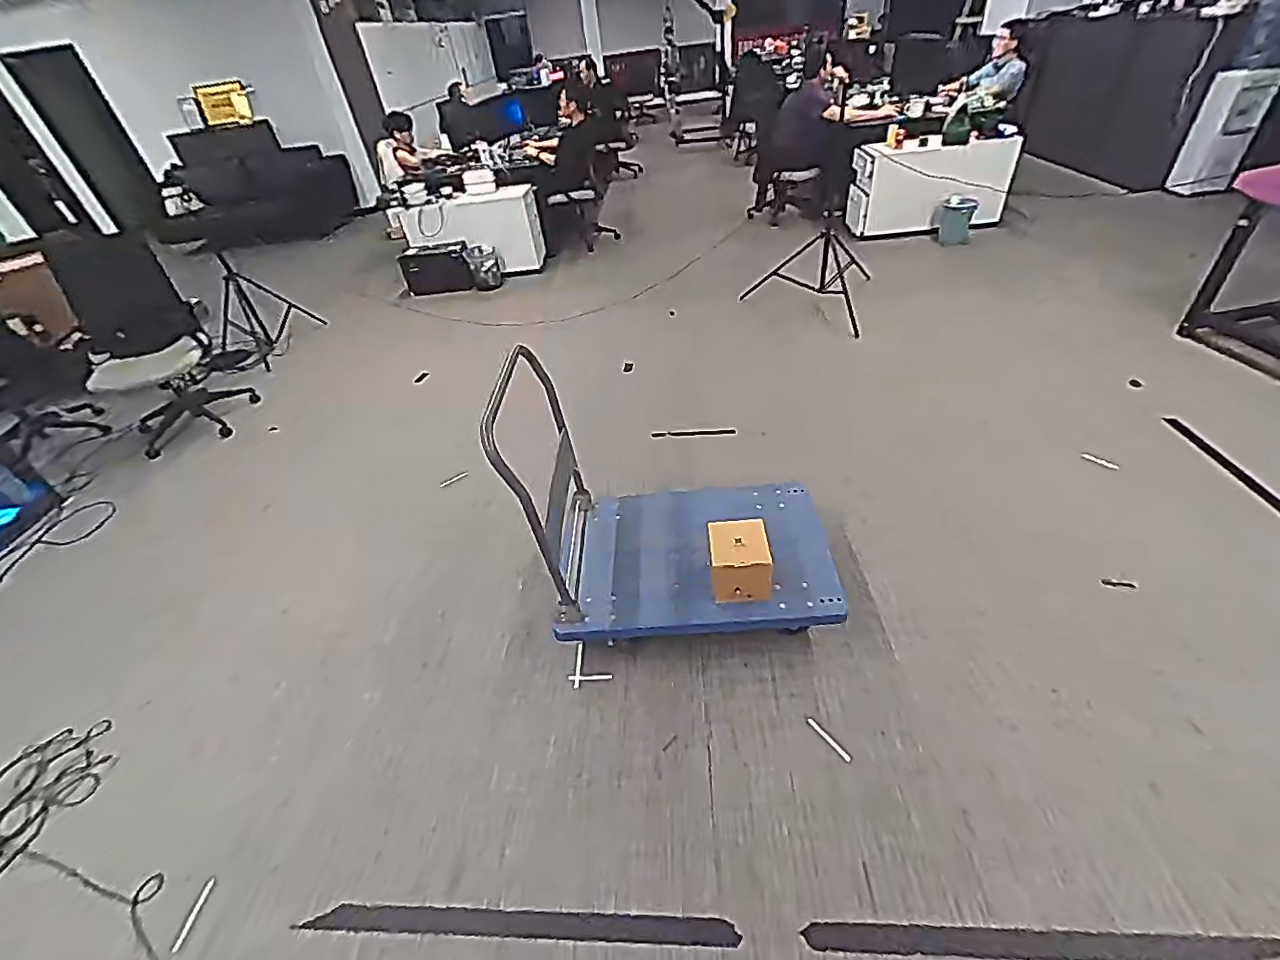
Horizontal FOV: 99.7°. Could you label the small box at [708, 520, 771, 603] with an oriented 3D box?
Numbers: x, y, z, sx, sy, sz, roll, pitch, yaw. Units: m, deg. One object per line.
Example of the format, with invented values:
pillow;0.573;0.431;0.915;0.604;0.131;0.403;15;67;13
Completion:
small box;0.291;0.244;1.613;0.168;0.176;0.179;-5;40;4
